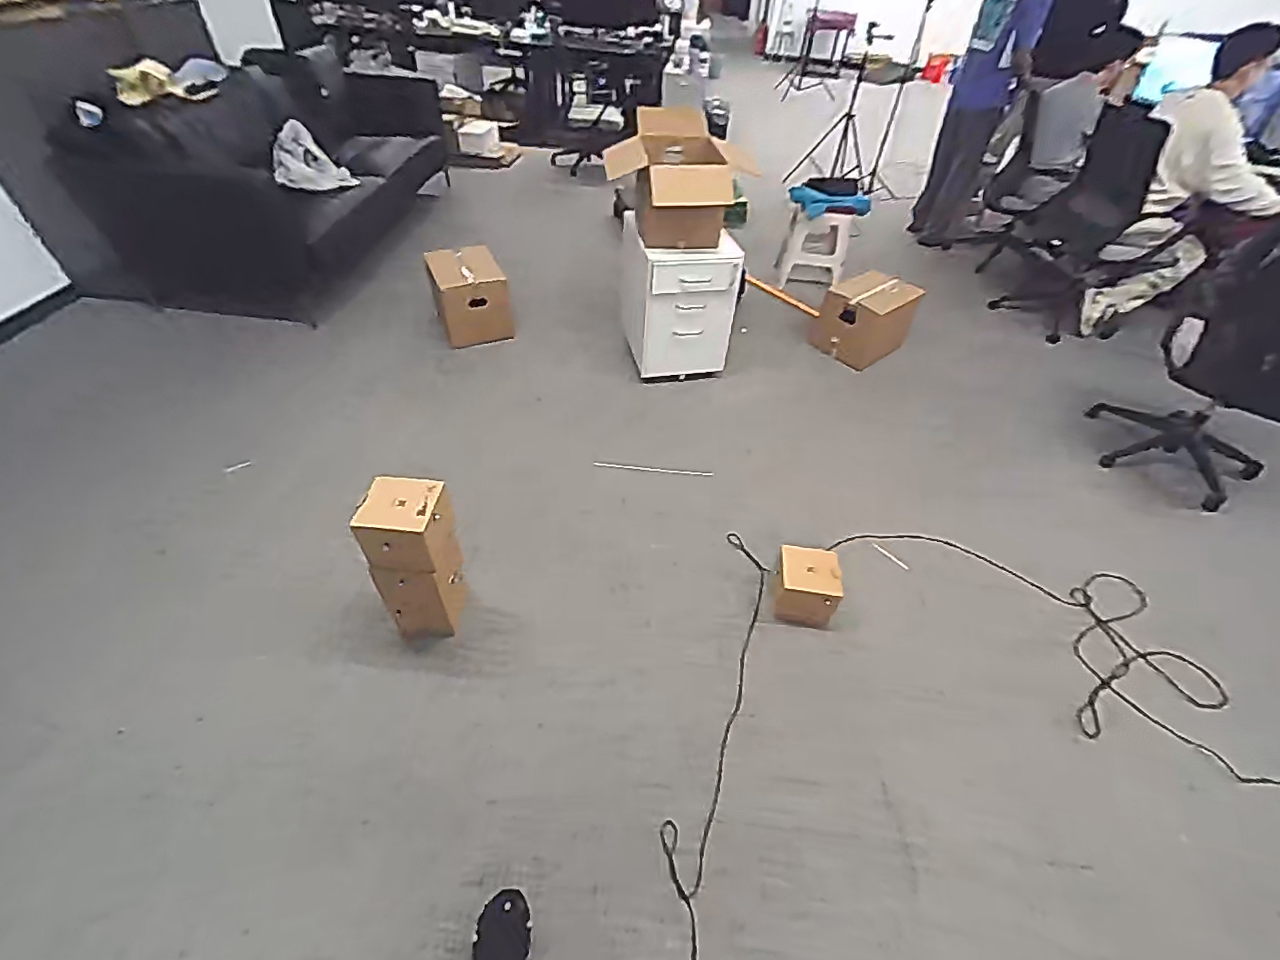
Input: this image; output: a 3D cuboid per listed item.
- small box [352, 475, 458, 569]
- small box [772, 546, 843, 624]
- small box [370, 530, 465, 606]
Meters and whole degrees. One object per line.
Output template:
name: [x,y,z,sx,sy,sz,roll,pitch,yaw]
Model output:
small box: [-0.582,0.108,1.366,0.179,0.176,0.168,5,46,1]
small box: [0.513,0.331,1.686,0.179,0.176,0.168,8,45,2]
small box: [-0.598,0.228,1.478,0.179,0.176,0.168,6,46,0]
